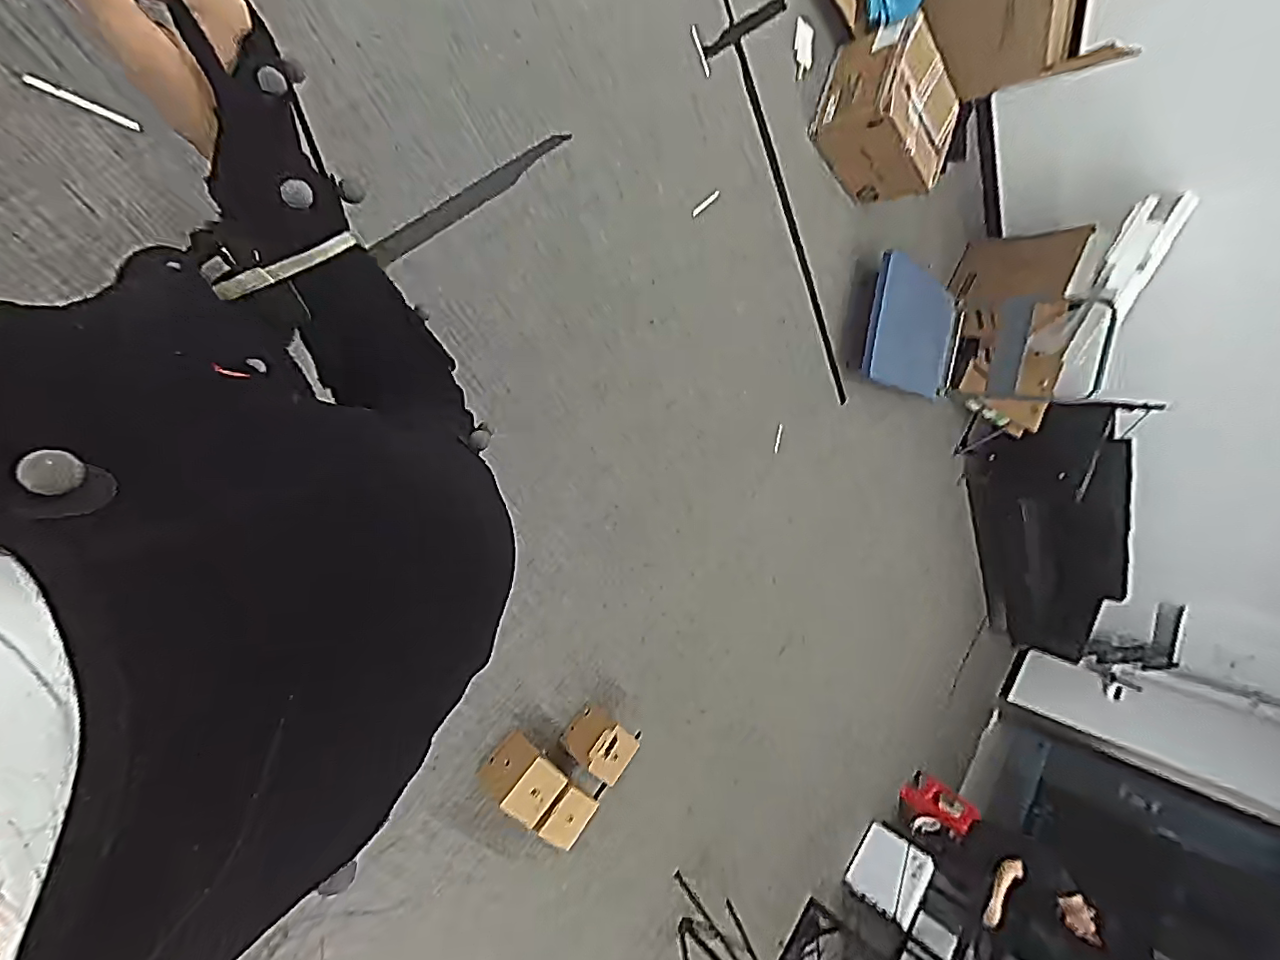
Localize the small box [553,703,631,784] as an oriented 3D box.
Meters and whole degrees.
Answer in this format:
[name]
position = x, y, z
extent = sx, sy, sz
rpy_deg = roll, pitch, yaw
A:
[small box]
position = -0.169, 0.907, 1.877
extent = 0.168, 0.176, 0.179
rpy_deg = -50, 129, -22
